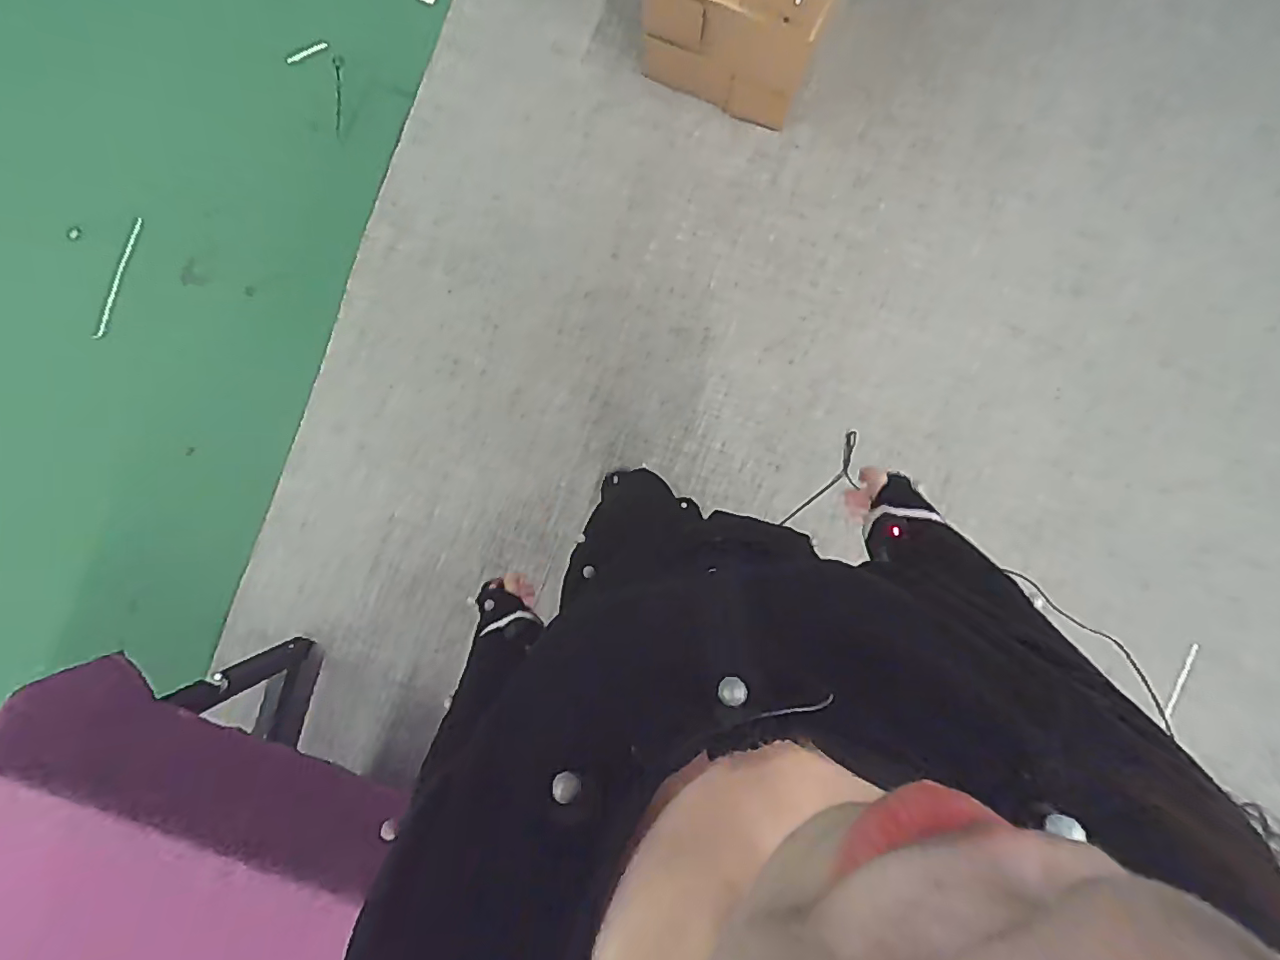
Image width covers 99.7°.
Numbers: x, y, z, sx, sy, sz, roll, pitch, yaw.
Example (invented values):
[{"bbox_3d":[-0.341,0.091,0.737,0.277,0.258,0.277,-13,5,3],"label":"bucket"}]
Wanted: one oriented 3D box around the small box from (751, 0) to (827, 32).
[{"bbox_3d":[0.327,-1.060,1.076,0.168,0.176,0.179,28,90,1],"label":"small box"}]
